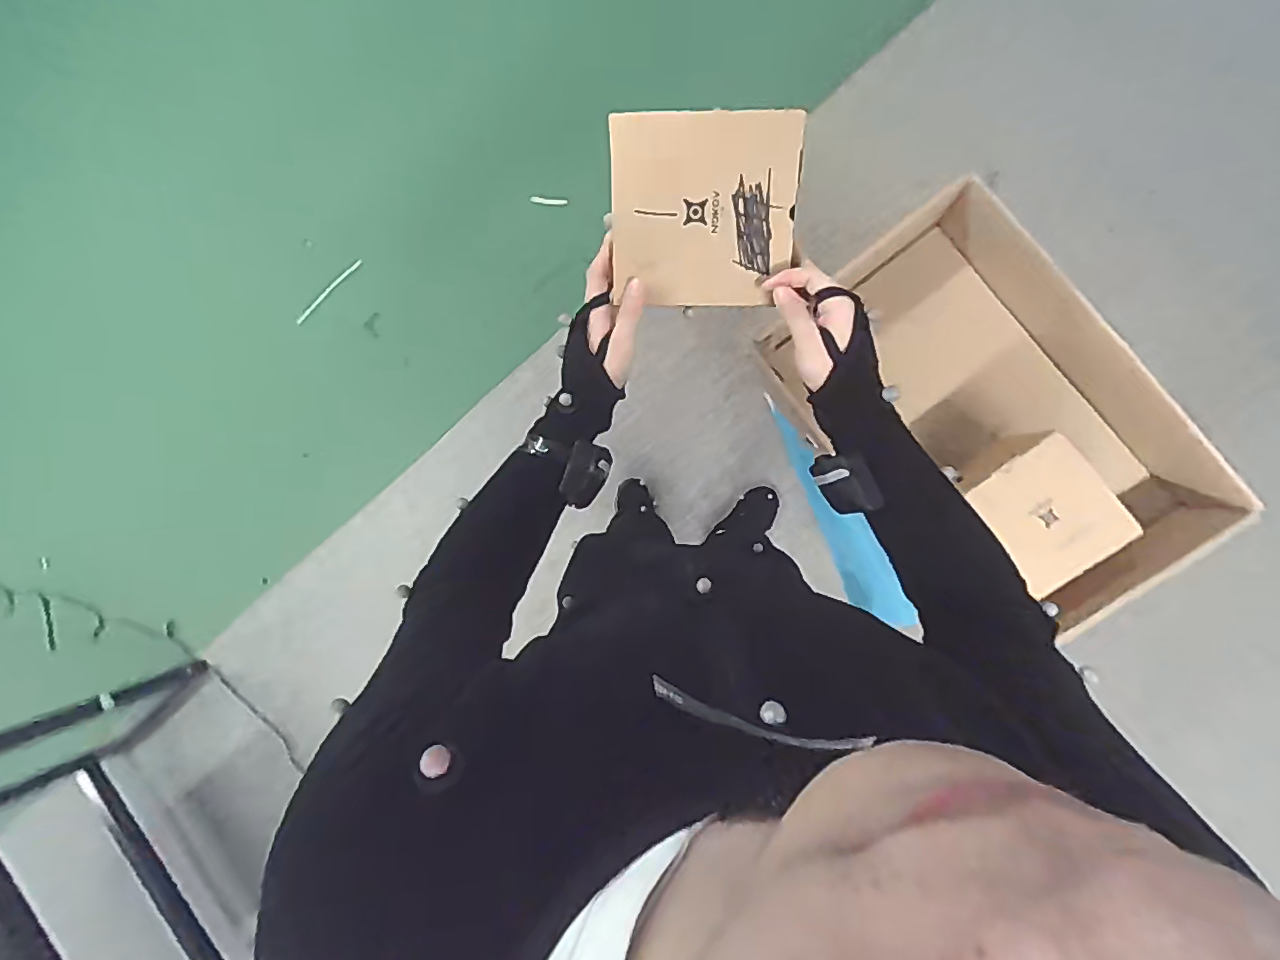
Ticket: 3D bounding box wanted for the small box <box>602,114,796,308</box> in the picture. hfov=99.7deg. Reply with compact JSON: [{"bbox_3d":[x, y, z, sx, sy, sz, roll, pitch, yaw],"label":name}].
[{"bbox_3d":[0.056,-0.276,0.582,0.179,0.176,0.168,0,110,3],"label":"small box"}]
